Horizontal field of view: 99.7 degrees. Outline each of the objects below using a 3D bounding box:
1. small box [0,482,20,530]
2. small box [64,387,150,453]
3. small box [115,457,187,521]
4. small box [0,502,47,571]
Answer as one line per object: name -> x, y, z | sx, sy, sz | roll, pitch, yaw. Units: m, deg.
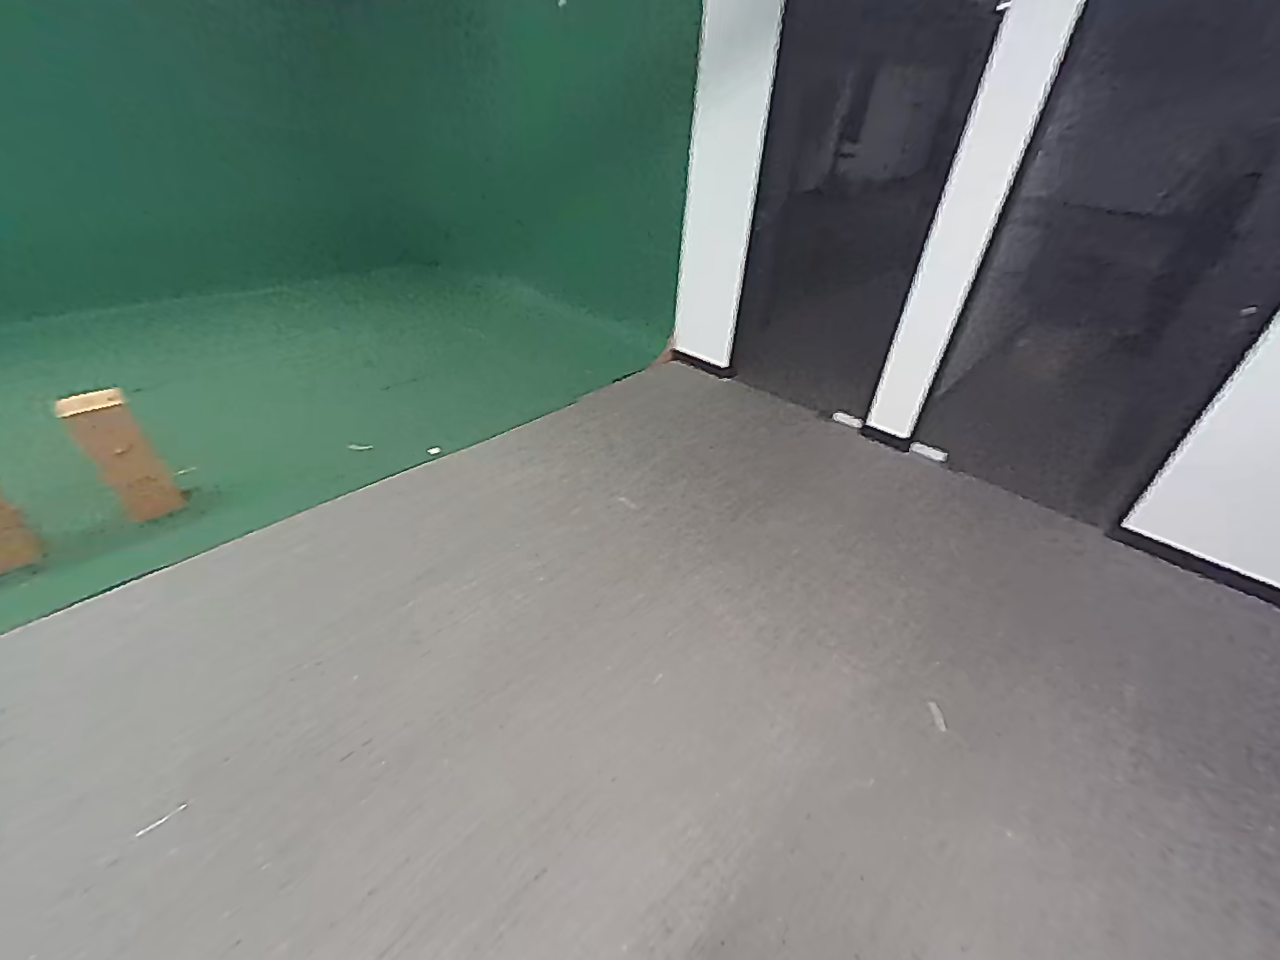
small box -> -2.295, 0.087, 1.855 | 0.168, 0.176, 0.179 | 29, 43, 31
small box -> -2.002, -0.224, 2.034 | 0.179, 0.176, 0.168 | -28, 46, -35
small box -> -2.011, 0.038, 2.232 | 0.179, 0.176, 0.168 | -26, 46, -34
small box -> -2.311, 0.212, 1.957 | 0.179, 0.176, 0.168 | -24, 44, -33
